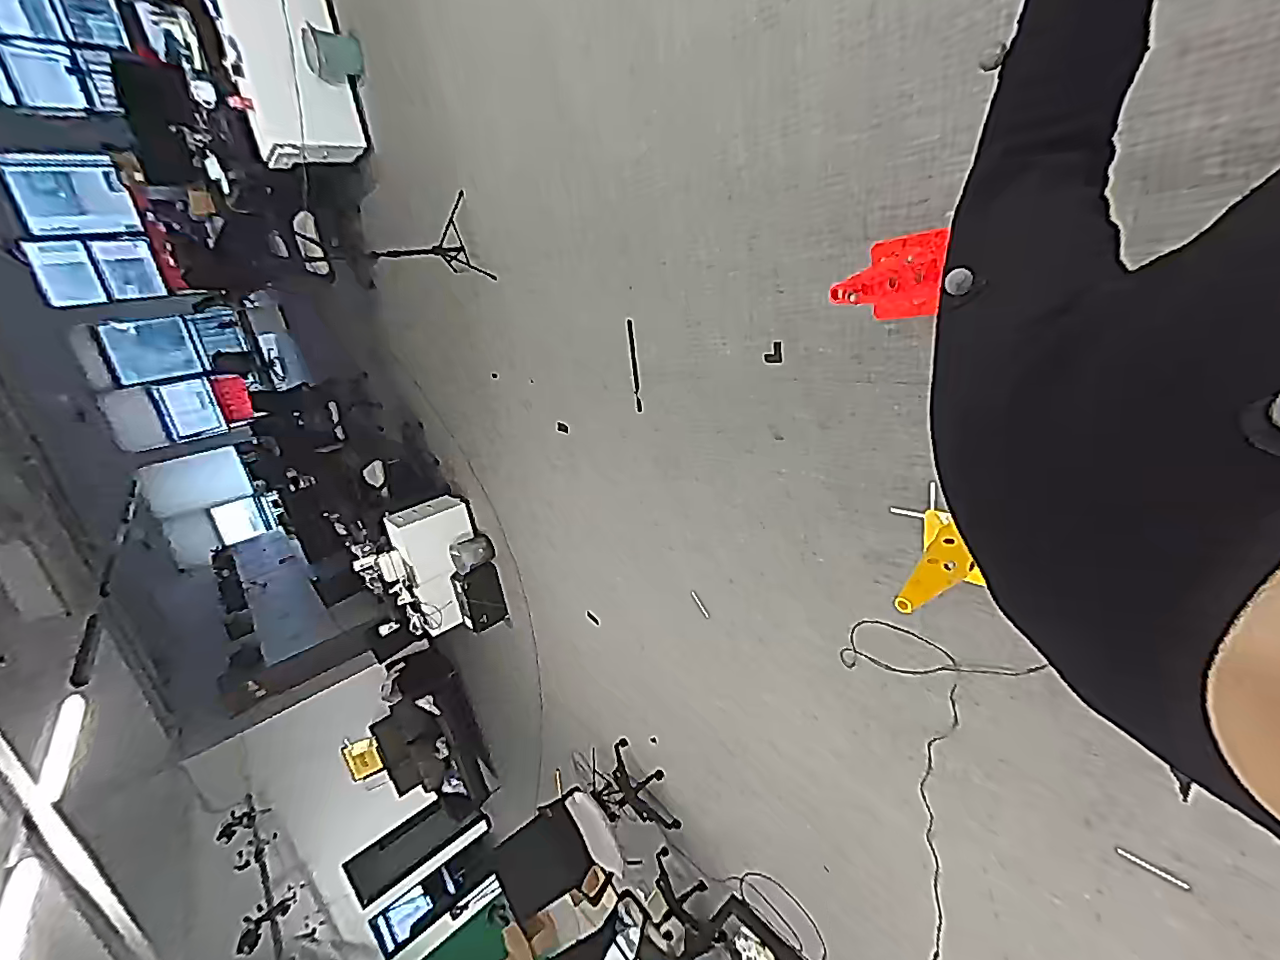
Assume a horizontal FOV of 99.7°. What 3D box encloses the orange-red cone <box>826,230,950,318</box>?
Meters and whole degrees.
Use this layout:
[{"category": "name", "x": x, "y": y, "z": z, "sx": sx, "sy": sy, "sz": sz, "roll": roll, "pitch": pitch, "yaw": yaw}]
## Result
[{"category": "orange-red cone", "x": 0.558, "y": -0.462, "z": 1.284, "sx": 0.198, "sy": 0.360, "sz": 0.199, "roll": 13, "pitch": 120, "yaw": 50}]
